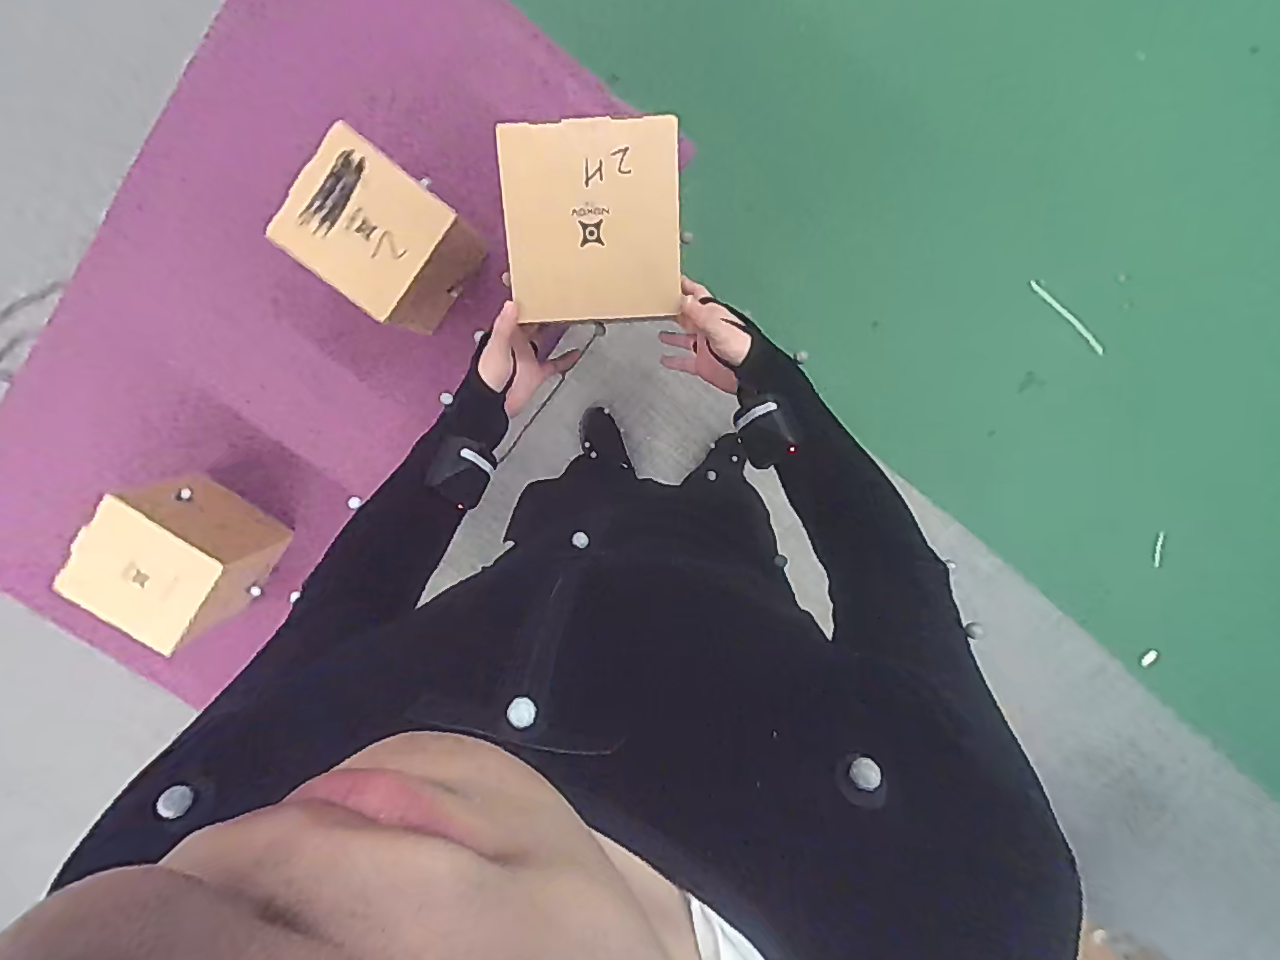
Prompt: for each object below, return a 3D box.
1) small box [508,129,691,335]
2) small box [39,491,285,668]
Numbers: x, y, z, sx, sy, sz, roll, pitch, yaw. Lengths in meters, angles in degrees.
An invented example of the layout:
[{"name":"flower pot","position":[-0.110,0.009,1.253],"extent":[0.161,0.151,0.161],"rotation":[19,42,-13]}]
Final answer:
[{"name":"small box","position":[-0.035,-0.246,0.577],"extent":[0.168,0.176,0.179],"rotation":[-1,104,0]},{"name":"small box","position":[-0.683,0.132,0.797],"extent":[0.179,0.176,0.168],"rotation":[36,97,-8]}]
